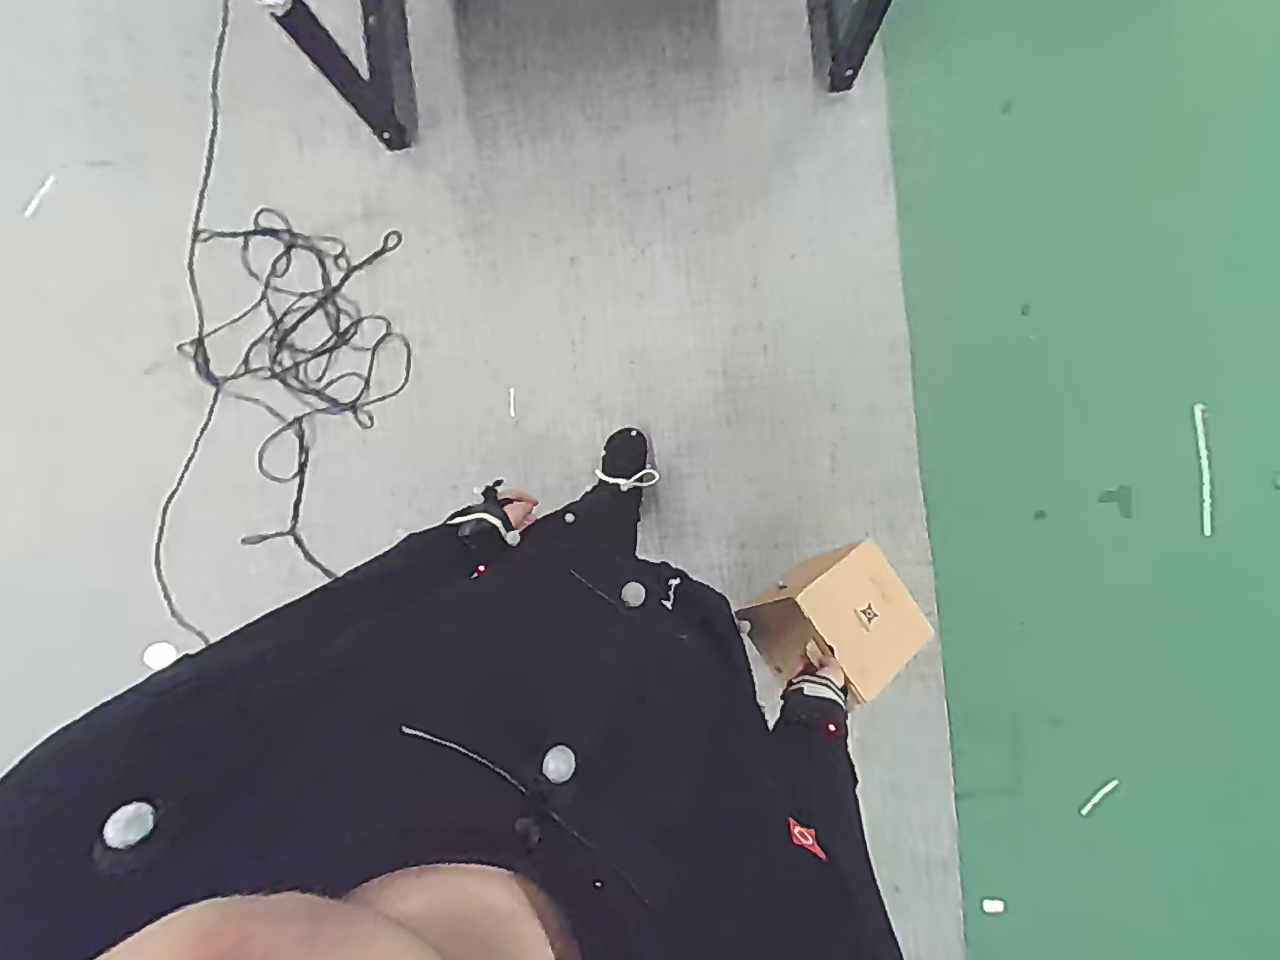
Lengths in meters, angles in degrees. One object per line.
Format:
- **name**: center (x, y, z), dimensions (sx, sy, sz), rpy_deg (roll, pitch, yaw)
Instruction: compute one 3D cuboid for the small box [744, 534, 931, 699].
- **small box**: center (0.281, 0.209, 0.813), dimensions (0.179, 0.176, 0.168), rpy_deg (-29, 83, -29)
